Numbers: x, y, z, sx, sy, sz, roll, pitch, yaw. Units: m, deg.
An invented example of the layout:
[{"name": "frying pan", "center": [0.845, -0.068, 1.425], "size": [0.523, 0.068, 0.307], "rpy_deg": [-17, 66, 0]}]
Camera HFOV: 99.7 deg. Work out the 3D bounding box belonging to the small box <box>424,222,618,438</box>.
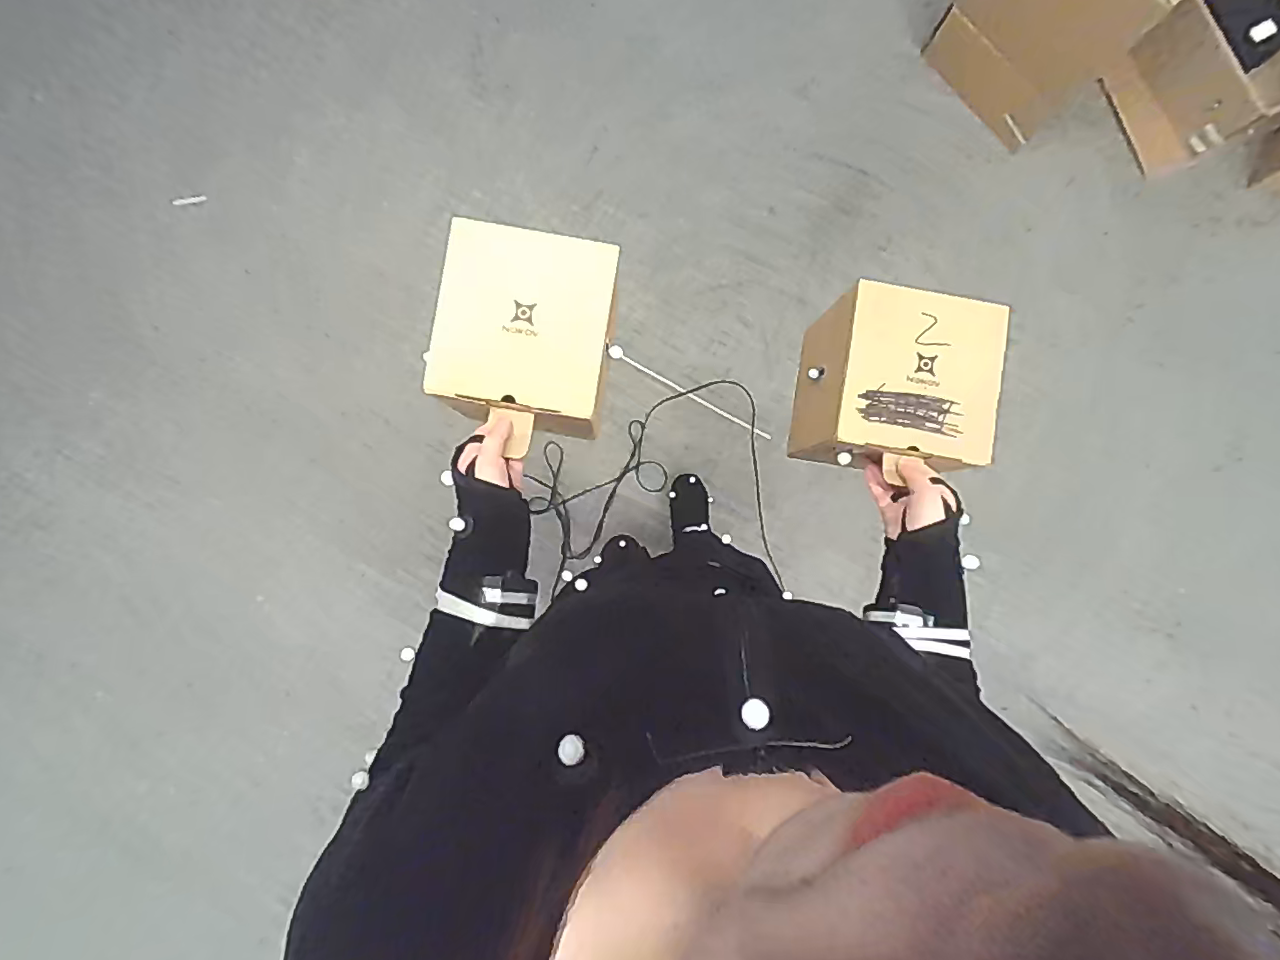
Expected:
[{"name": "small box", "center": [-0.121, -0.153, 0.610], "size": [0.168, 0.176, 0.179], "rpy_deg": [9, 87, -3]}]
